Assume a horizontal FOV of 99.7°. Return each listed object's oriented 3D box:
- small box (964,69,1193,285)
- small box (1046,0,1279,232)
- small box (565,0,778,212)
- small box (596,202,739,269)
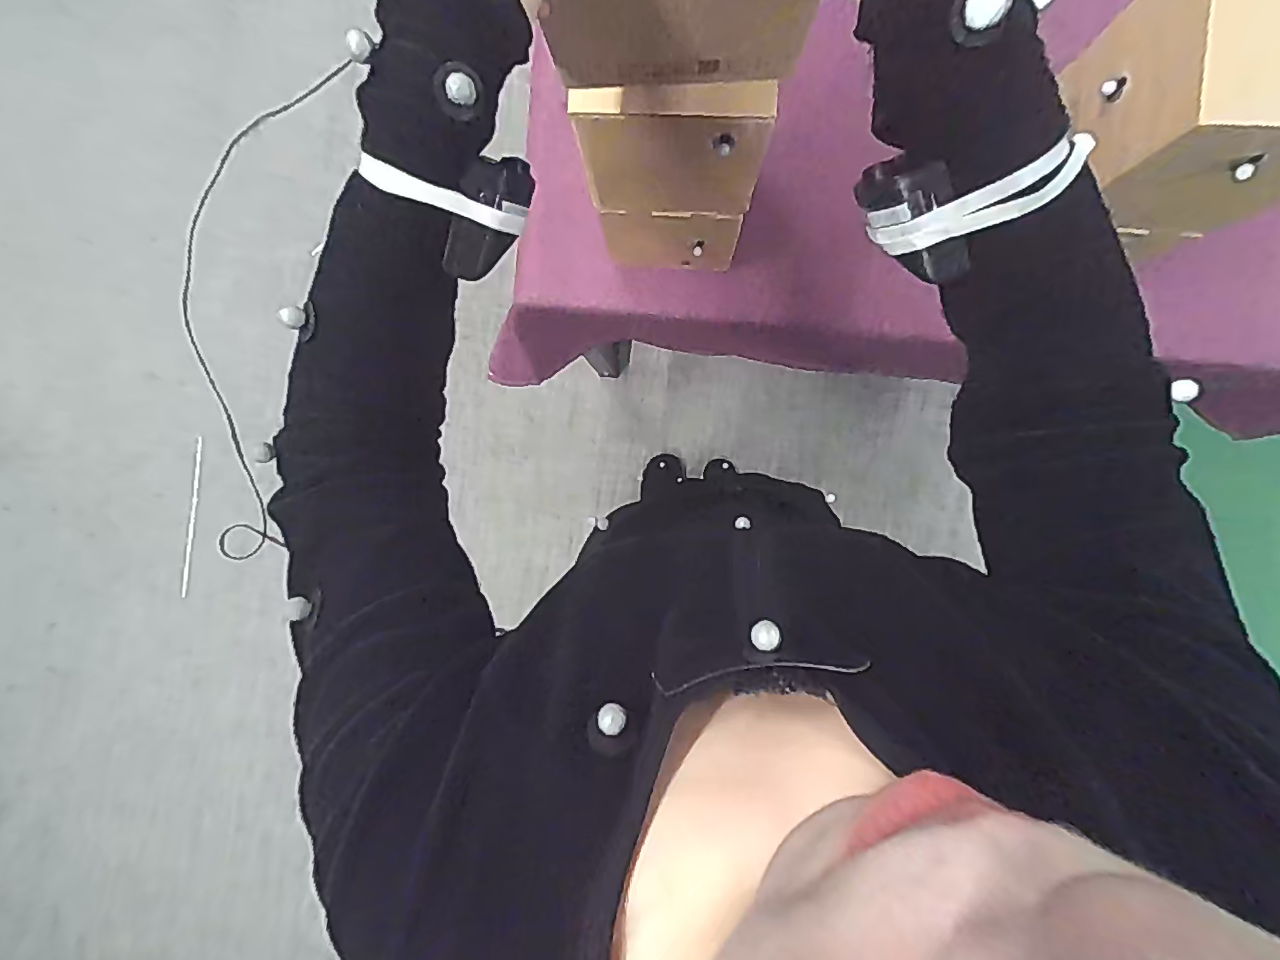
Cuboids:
[{"bbox_3d":[0.530,-0.354,0.665,0.168,0.176,0.179,6,92,3],"label":"small box"},{"bbox_3d":[0.523,-0.348,0.500,0.179,0.176,0.168,5,92,3],"label":"small box"},{"bbox_3d":[0.030,-0.383,0.529,0.179,0.176,0.168,2,92,1],"label":"small box"},{"bbox_3d":[0.042,-0.386,0.691,0.168,0.176,0.179,4,91,2],"label":"small box"}]
